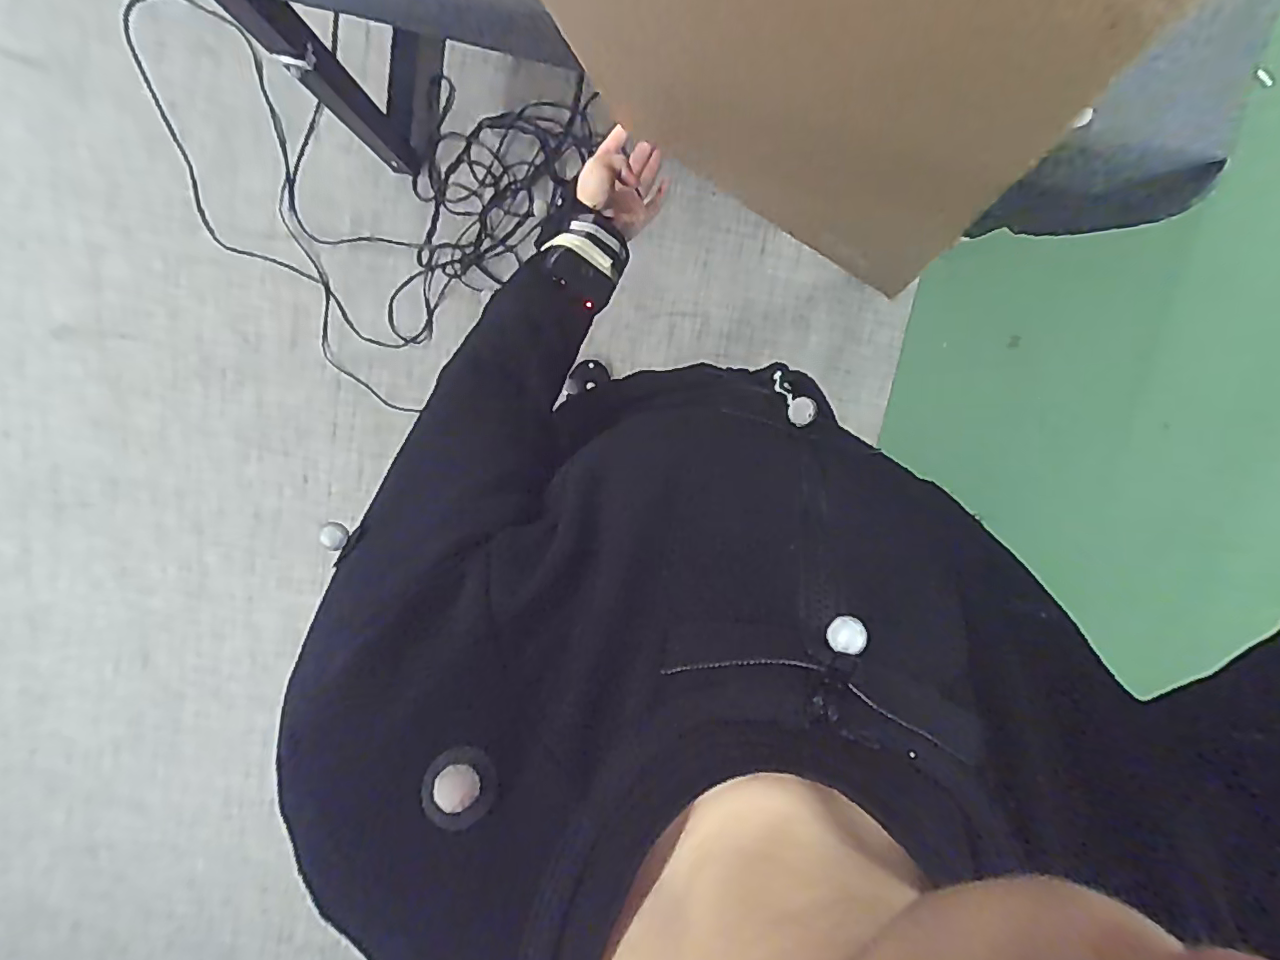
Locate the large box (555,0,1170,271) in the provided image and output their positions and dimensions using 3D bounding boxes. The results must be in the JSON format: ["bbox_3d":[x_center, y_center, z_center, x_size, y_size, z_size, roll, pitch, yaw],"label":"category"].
[{"bbox_3d":[0.131,-0.358,0.278,0.320,0.408,0.320,36,107,6],"label":"large box"}]
